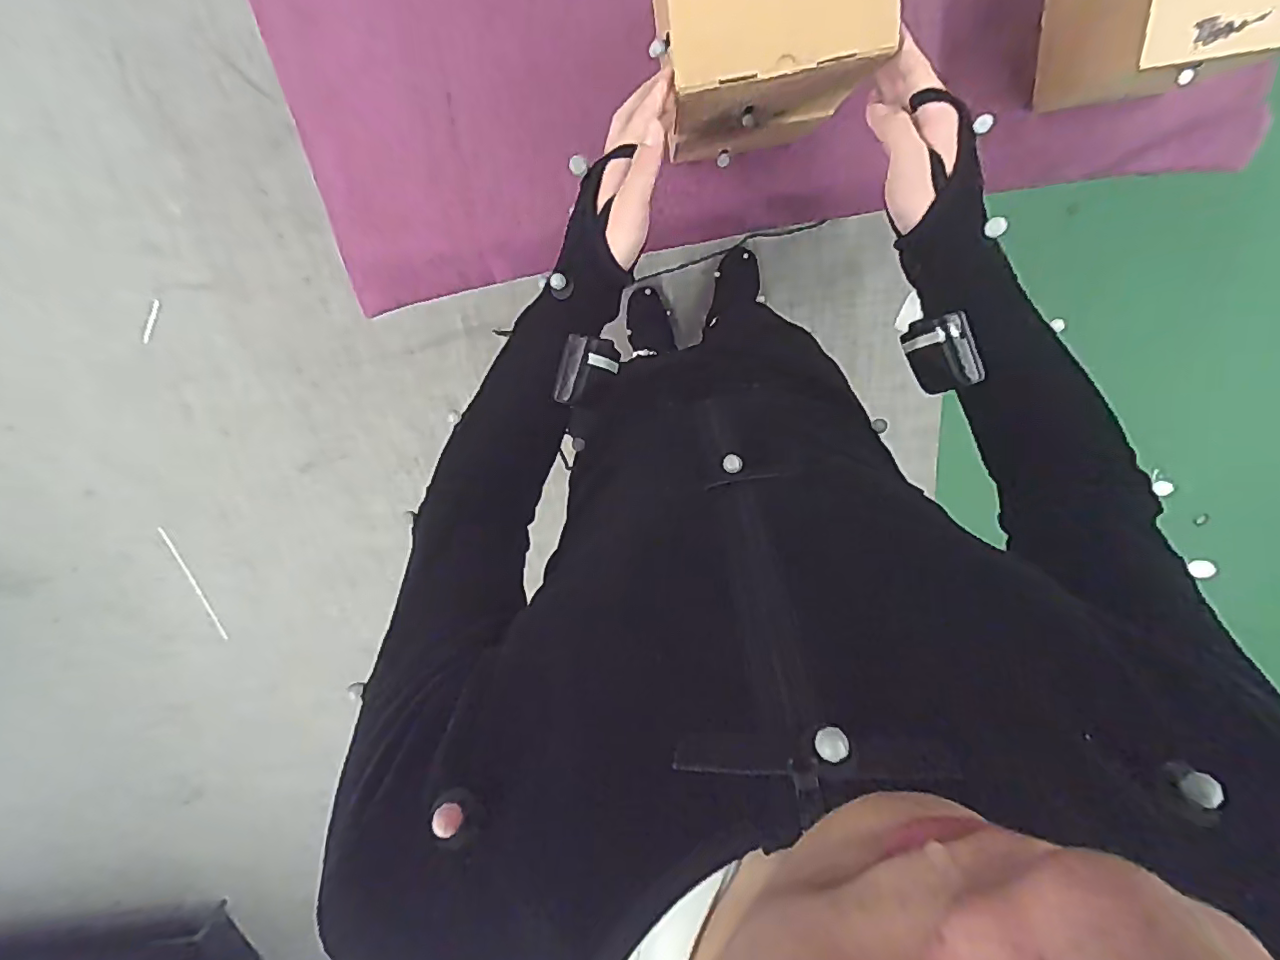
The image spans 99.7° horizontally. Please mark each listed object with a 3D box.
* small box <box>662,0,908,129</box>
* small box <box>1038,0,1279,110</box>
[{"bbox_3d":[0.103,-0.417,0.443,0.168,0.176,0.179,-8,114,5],"label":"small box"},{"bbox_3d":[0.558,-0.520,0.563,0.168,0.176,0.179,-6,111,5],"label":"small box"}]
